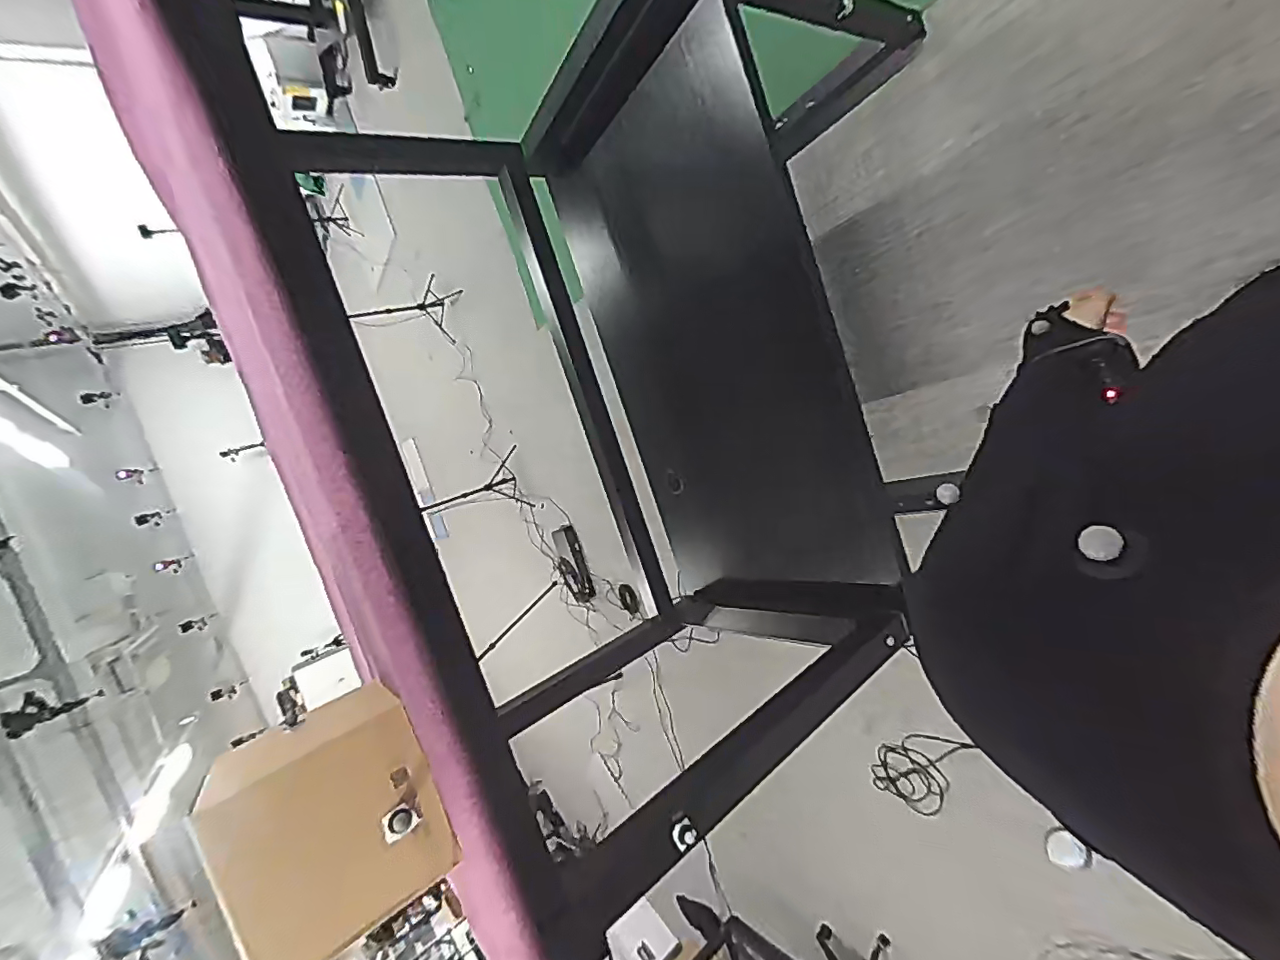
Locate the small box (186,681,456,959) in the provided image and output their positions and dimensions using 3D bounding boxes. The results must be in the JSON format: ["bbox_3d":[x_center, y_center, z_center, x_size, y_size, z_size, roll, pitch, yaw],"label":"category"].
[{"bbox_3d":[-0.302,0.319,0.531,0.179,0.176,0.168,-19,93,55],"label":"small box"}]
